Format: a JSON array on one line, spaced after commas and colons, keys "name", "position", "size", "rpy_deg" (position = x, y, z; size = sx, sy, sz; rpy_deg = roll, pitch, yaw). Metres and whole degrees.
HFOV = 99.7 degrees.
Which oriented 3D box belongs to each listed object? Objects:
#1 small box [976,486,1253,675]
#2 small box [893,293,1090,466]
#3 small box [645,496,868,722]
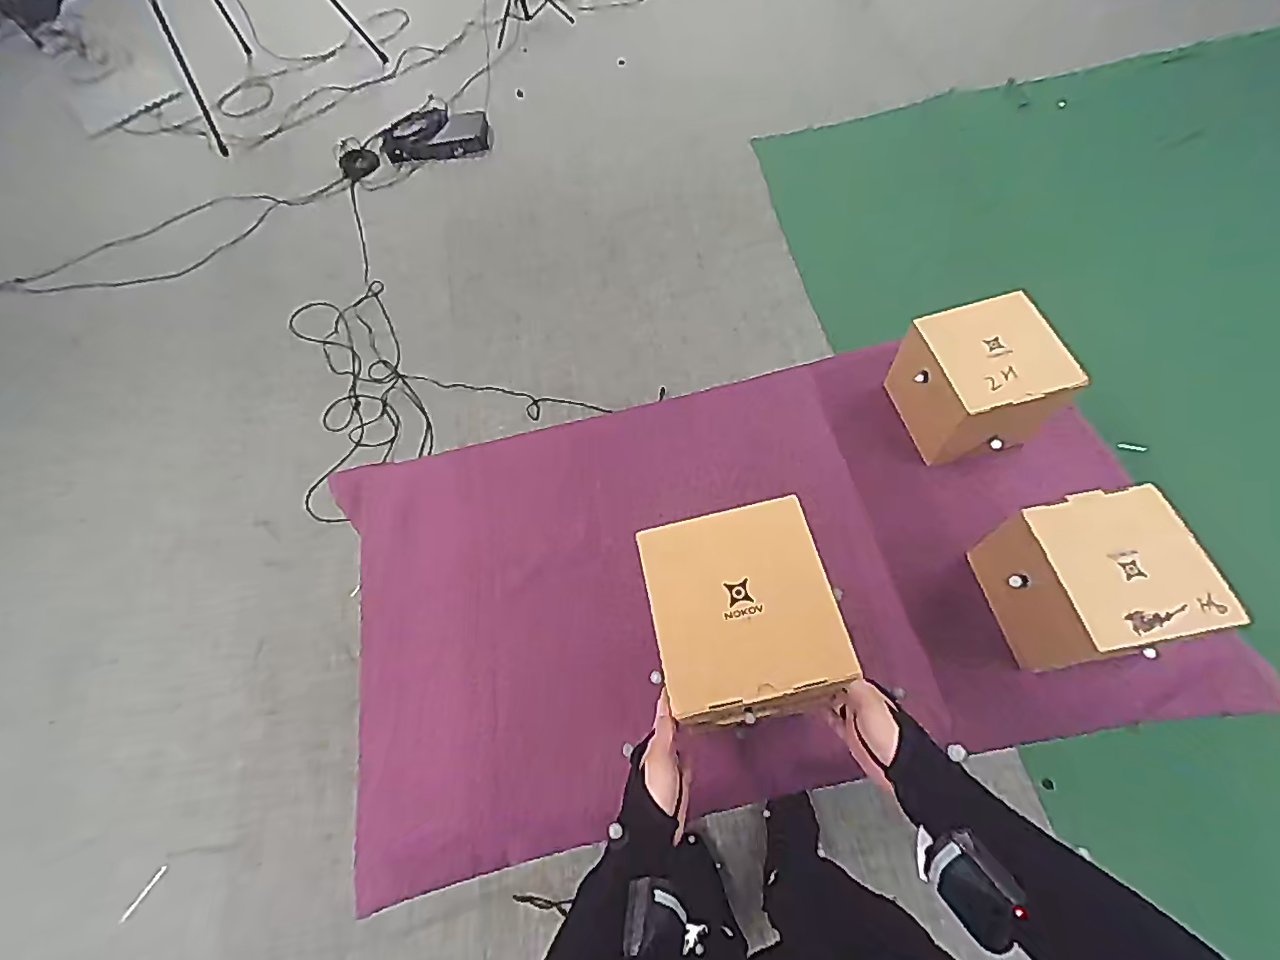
[{"name": "small box", "position": [0.572, 0.134, 0.690], "size": [0.168, 0.176, 0.179], "rpy_deg": [-12, 61, 2]}, {"name": "small box", "position": [0.517, -0.147, 0.832], "size": [0.168, 0.176, 0.179], "rpy_deg": [-15, 64, 3]}, {"name": "small box", "position": [0.106, 0.142, 0.564], "size": [0.168, 0.176, 0.179], "rpy_deg": [-13, 63, 1]}]
